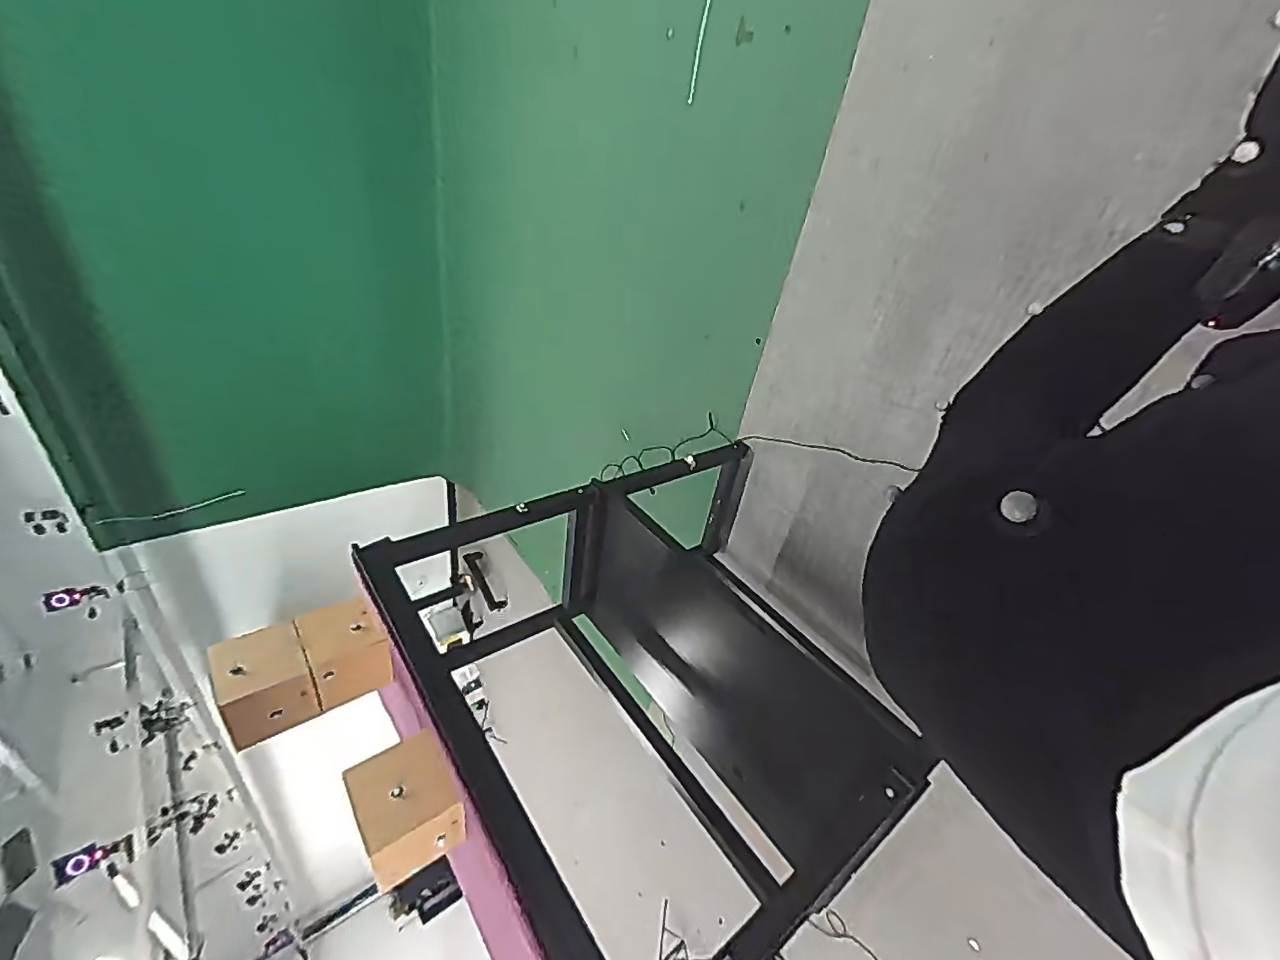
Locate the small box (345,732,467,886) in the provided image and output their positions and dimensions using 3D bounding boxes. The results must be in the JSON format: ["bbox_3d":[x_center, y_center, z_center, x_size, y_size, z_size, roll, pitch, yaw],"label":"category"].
[{"bbox_3d":[-0.451,0.624,1.052,0.179,0.176,0.168,41,135,36],"label":"small box"}]

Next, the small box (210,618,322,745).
[{"bbox_3d":[-0.834,0.444,1.219,0.179,0.176,0.168,41,132,37],"label":"small box"}]

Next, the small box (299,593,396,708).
[{"bbox_3d":[-0.710,0.410,1.322,0.168,0.176,0.179,41,132,37],"label":"small box"}]
